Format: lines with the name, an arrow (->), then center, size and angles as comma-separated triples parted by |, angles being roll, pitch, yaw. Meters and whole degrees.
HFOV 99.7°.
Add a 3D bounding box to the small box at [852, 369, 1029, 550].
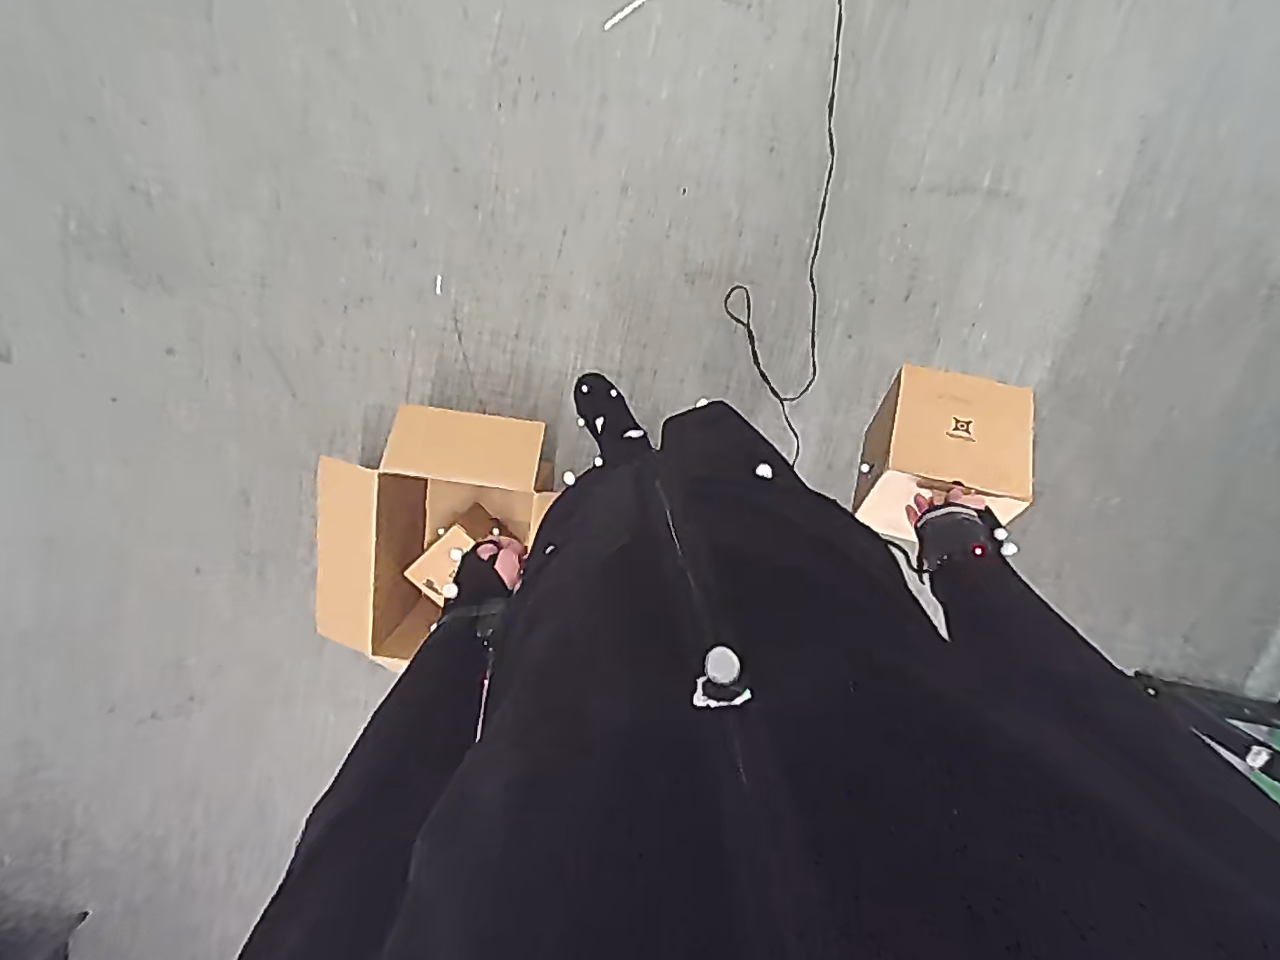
small box -> 0.409, -0.022, 0.757 | 0.168, 0.176, 0.179 | 15, 63, 11
